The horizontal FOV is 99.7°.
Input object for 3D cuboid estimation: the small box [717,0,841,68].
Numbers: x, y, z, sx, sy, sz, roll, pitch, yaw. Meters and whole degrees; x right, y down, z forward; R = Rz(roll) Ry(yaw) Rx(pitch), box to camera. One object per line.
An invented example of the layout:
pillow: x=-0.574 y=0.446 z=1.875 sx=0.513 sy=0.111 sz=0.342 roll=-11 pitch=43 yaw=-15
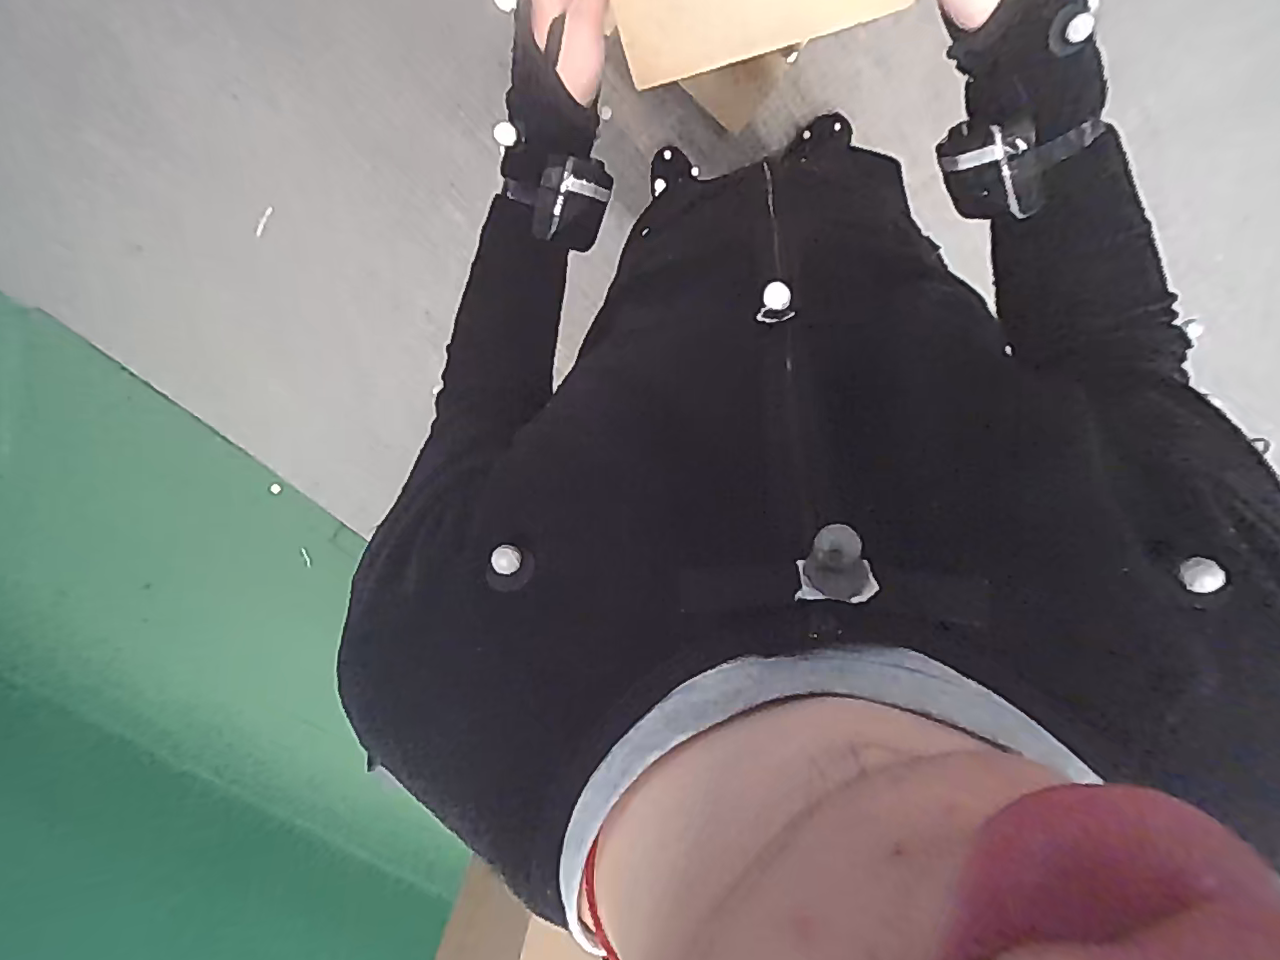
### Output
small box: x=0.217 y=-0.737 z=0.779 sx=0.168 sy=0.176 sz=0.179 roll=35 pitch=123 yaw=-13

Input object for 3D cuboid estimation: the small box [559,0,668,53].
small box: x=-0.037 y=-0.782 z=0.803 sx=0.168 sy=0.176 sz=0.179 roll=38 pitch=127 yaw=-14
